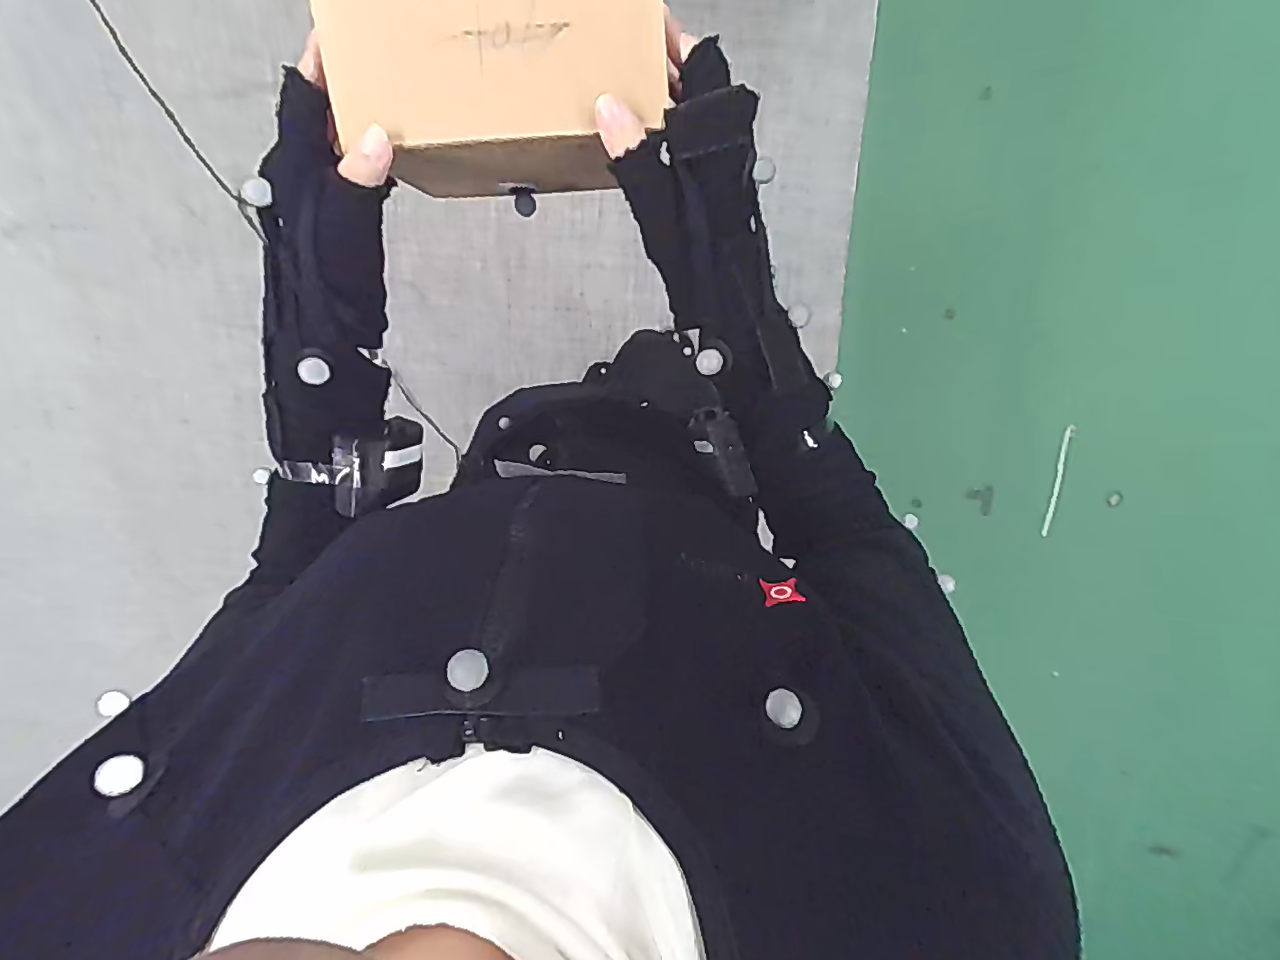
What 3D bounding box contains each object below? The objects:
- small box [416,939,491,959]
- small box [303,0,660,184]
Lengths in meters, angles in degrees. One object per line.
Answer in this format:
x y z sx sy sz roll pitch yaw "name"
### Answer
-0.441 1.190 1.215 0.168 0.176 0.179 8 105 -5 "small box"
-0.080 -0.289 0.315 0.168 0.176 0.179 -4 110 -1 "small box"
